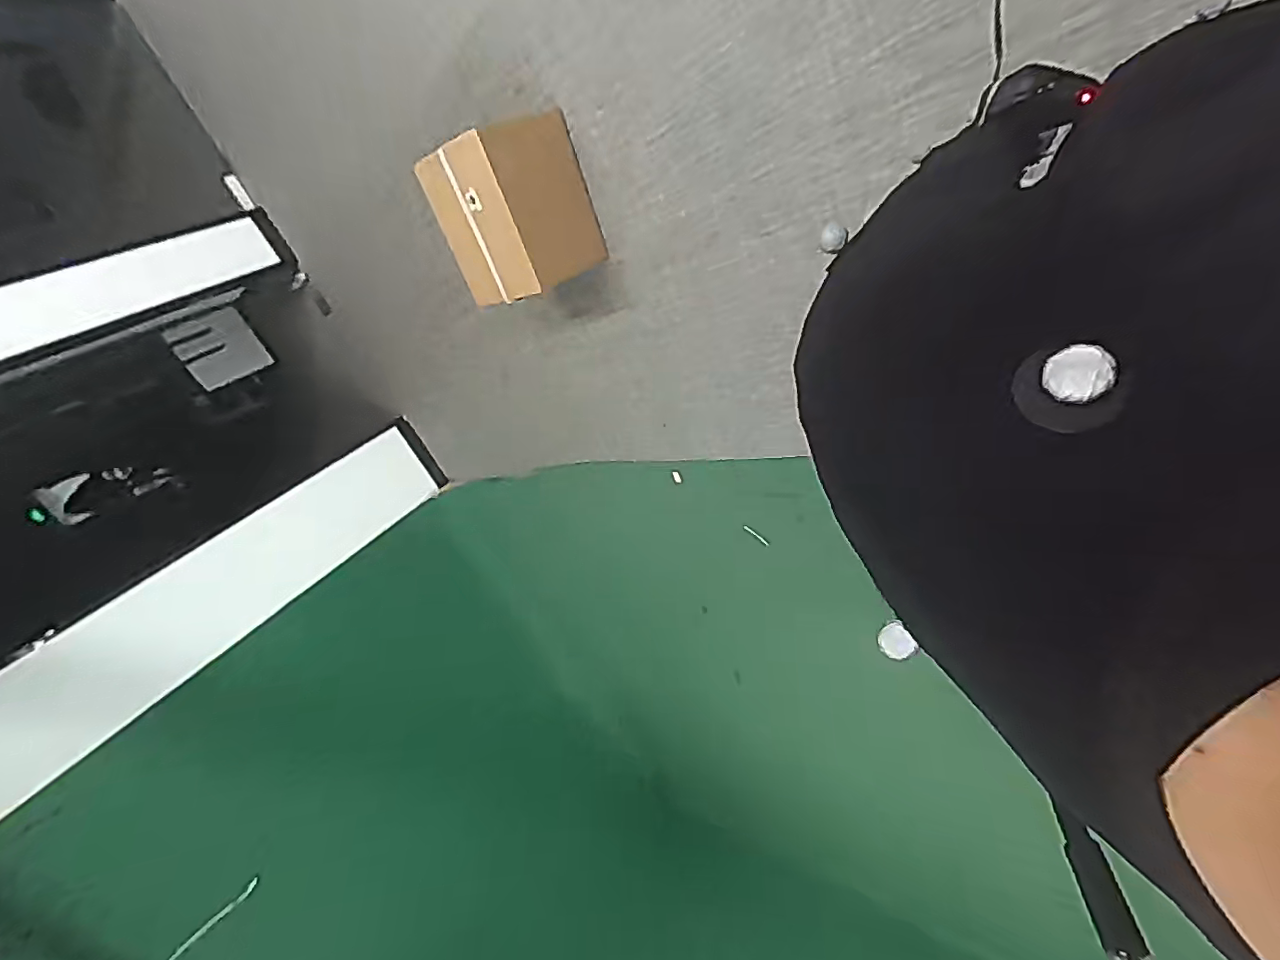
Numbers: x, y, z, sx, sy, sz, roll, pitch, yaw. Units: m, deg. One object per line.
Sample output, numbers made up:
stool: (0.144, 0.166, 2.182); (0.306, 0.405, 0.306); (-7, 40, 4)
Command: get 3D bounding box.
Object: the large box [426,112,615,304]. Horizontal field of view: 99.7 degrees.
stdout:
large box: (-0.333, -0.777, 1.578); (0.320, 0.320, 0.408); (6, 127, 40)
